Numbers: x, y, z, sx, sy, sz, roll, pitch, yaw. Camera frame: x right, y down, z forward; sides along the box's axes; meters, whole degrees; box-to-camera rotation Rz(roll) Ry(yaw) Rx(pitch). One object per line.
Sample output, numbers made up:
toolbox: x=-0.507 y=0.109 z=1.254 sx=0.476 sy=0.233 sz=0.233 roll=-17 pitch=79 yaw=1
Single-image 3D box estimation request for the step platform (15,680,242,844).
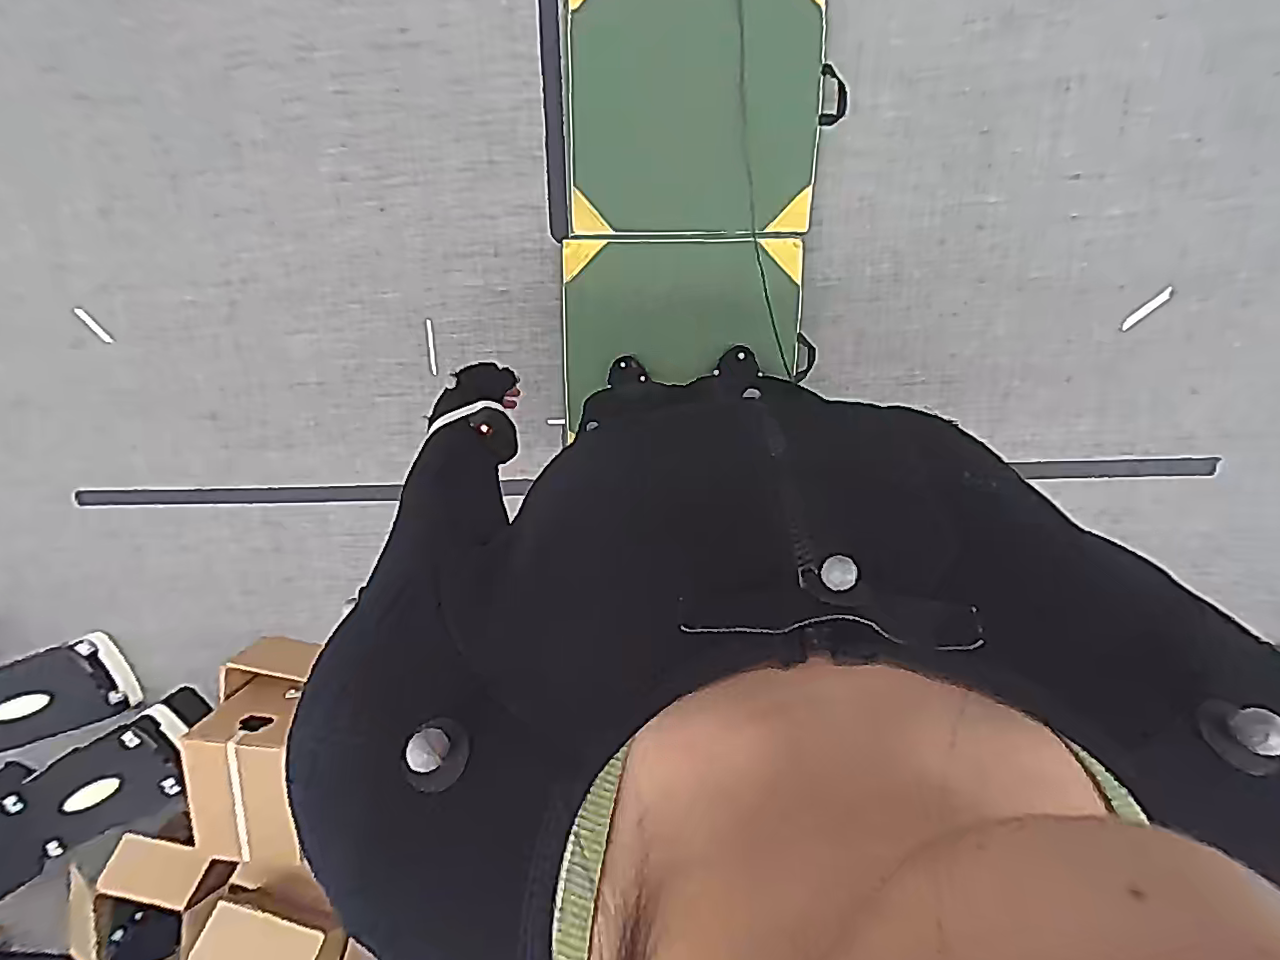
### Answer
step platform: x=-1.746 y=0.966 z=1.847 sx=0.684 sy=0.204 sz=0.286 roll=-29 pitch=100 yaw=10
